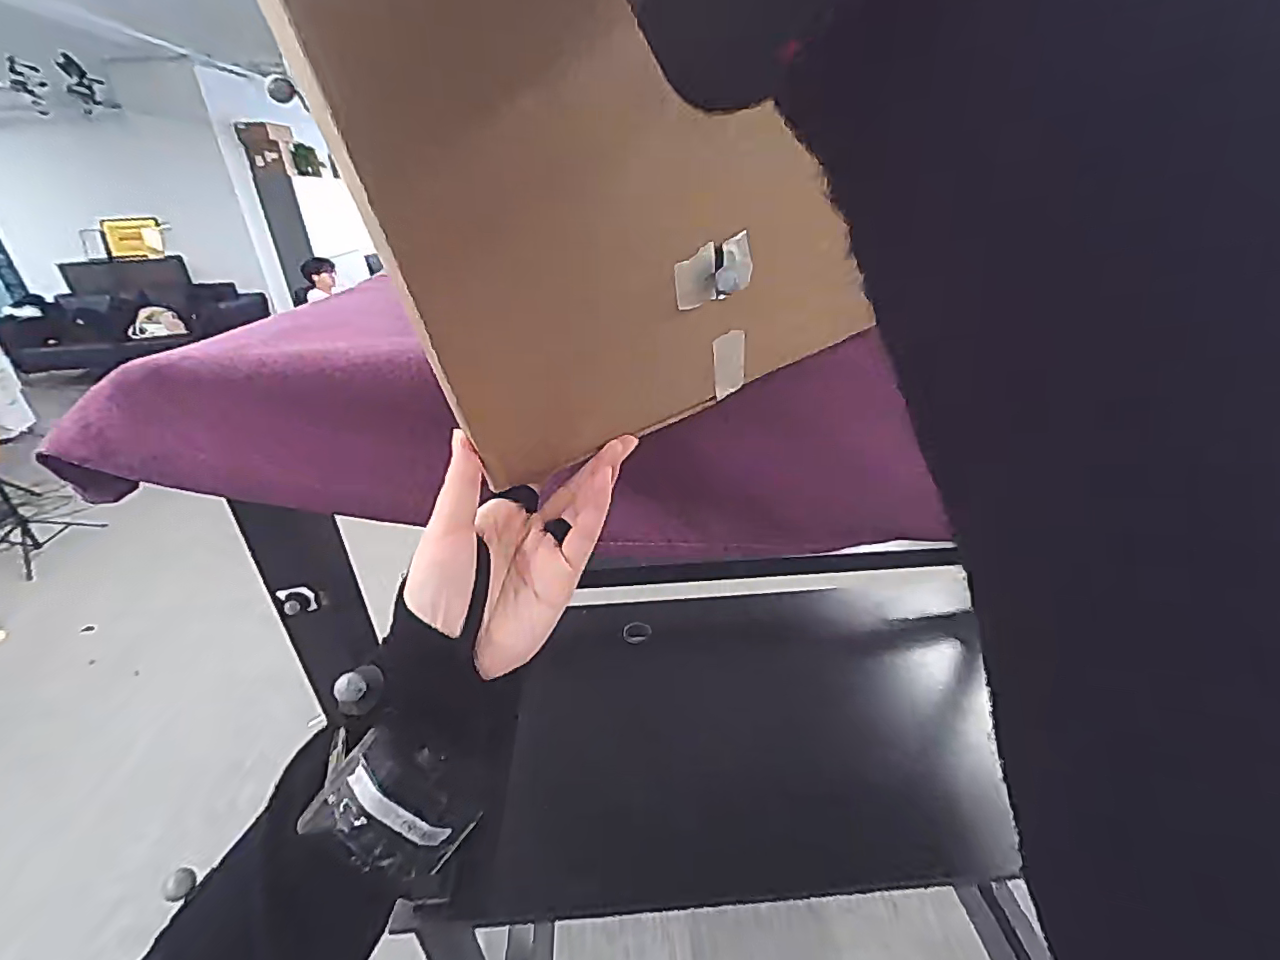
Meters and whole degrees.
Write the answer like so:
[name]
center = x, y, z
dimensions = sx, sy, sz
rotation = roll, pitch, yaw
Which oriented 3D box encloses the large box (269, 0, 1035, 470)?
[large box]
center = -0.042, -0.283, 0.325
dimensions = 0.320, 0.320, 0.408
rotation = -25, 54, -16
